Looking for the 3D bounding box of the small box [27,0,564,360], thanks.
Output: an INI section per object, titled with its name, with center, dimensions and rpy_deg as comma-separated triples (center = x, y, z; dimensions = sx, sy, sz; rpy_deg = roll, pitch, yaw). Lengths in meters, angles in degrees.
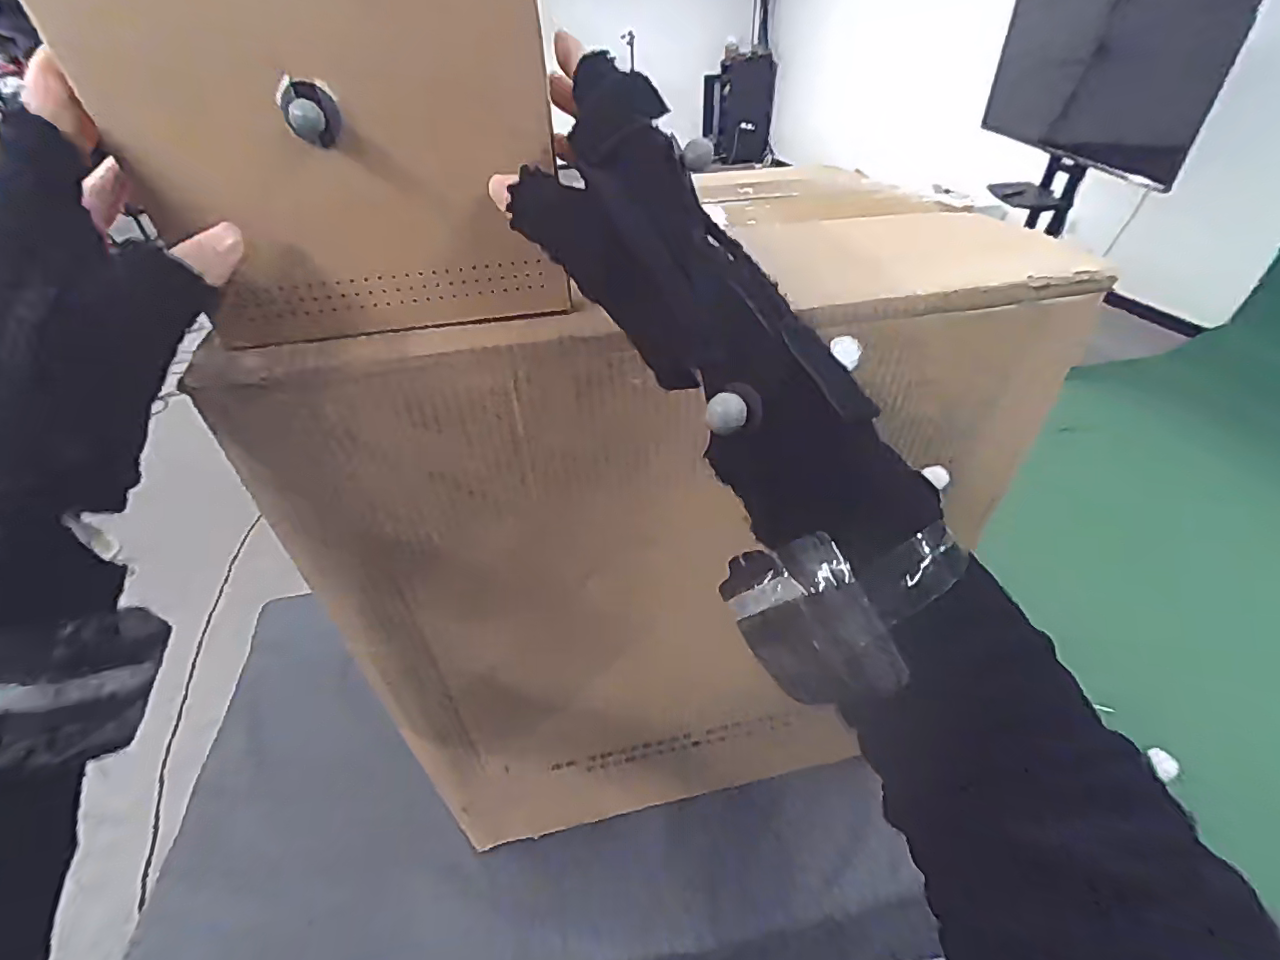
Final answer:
[small box]
center = -0.139, -0.182, 0.288
dimensions = 0.179, 0.176, 0.168
rpy_deg = -10, 43, -11
